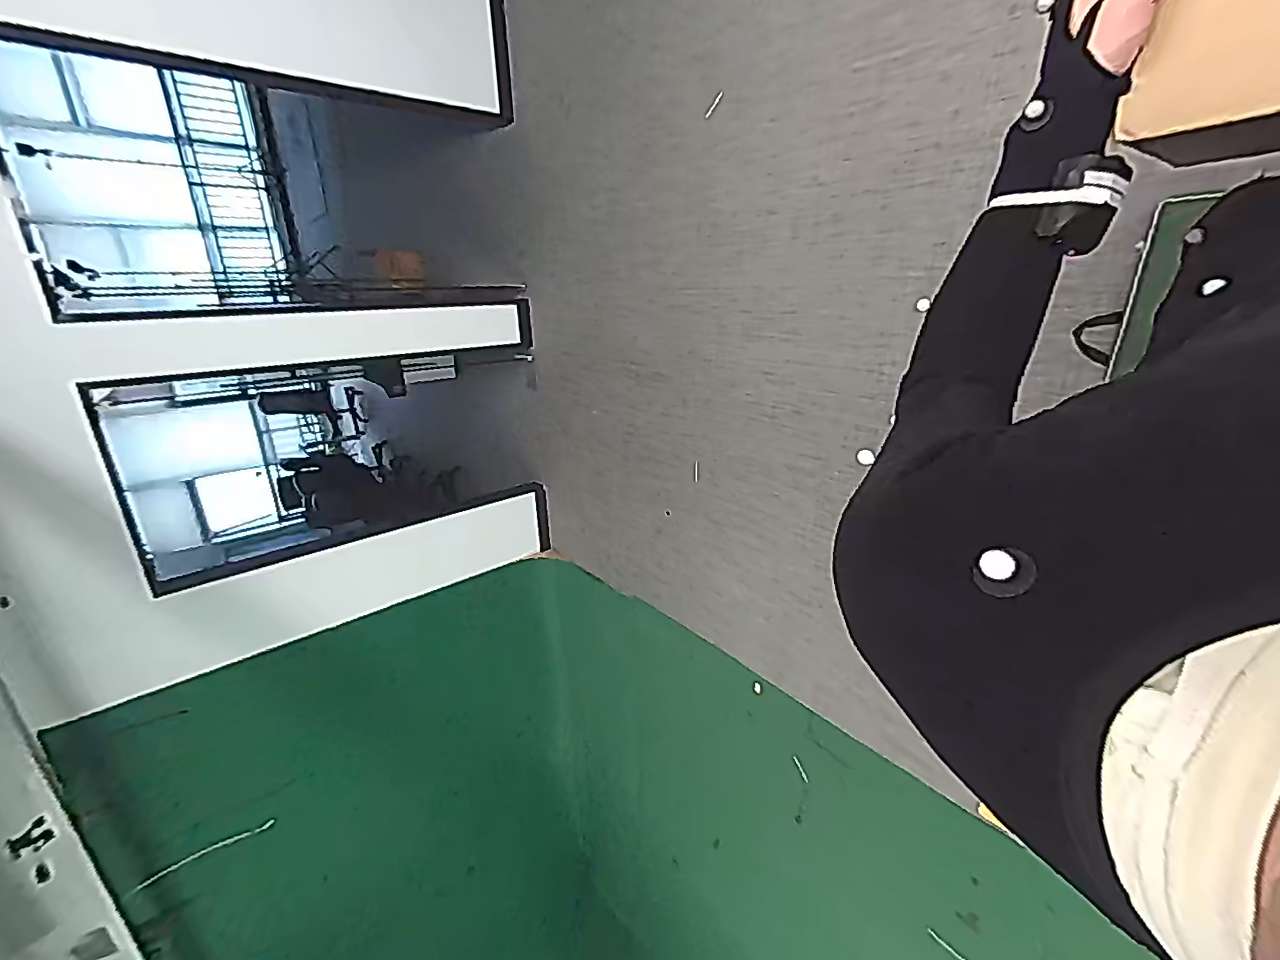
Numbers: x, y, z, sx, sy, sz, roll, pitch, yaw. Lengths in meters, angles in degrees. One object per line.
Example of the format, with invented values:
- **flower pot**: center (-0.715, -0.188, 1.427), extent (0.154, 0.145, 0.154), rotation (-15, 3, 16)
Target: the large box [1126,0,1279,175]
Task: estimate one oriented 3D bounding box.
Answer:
- **large box**: center (0.614, -0.419, 0.338), extent (0.408, 0.320, 0.320), rotation (15, 117, 46)
